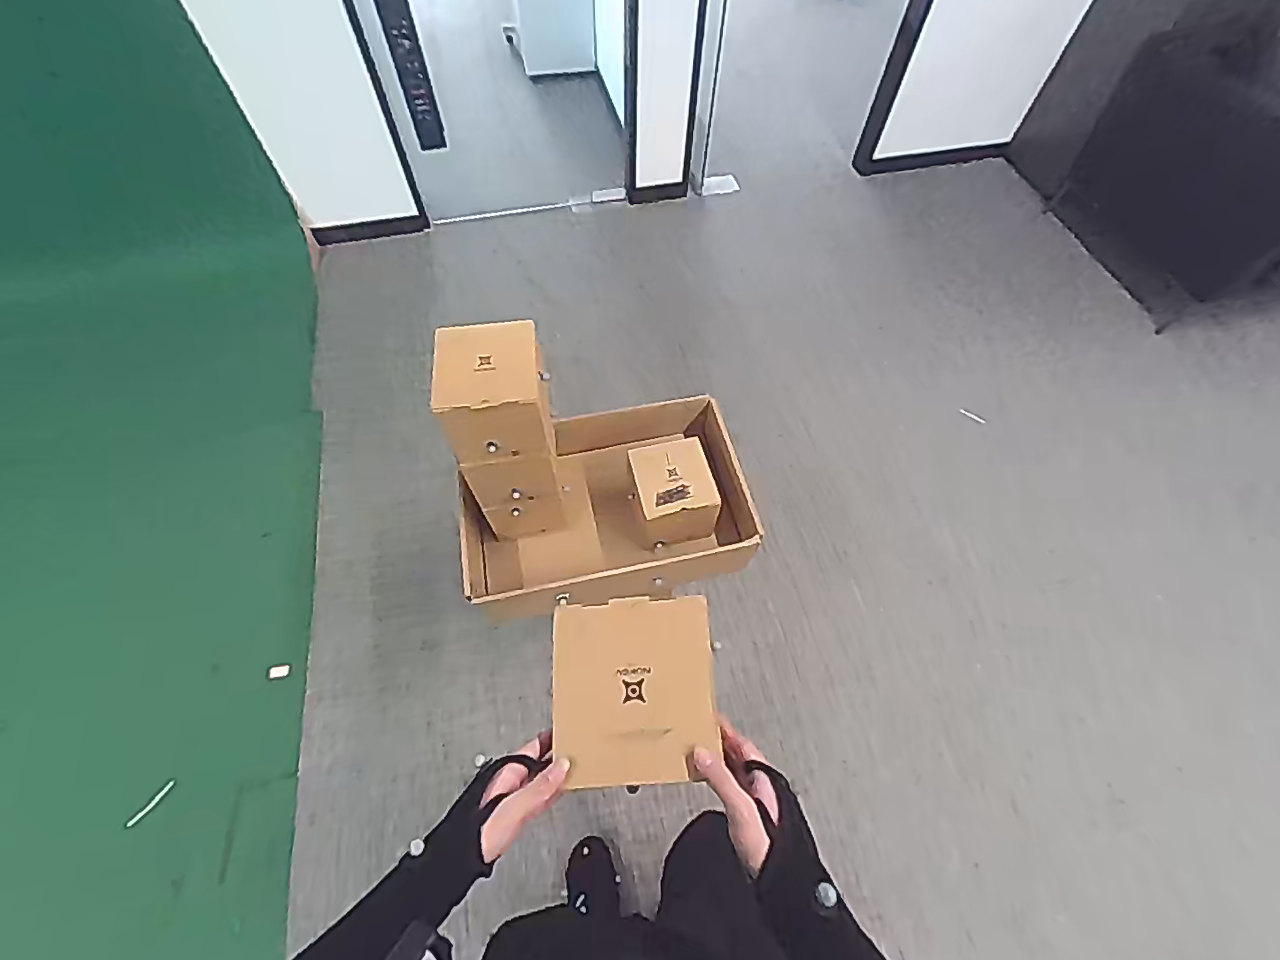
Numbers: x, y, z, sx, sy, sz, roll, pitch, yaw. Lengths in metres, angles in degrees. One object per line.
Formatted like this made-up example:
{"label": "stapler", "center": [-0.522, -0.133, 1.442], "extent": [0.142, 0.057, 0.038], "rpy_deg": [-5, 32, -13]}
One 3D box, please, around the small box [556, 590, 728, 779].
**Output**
{"label": "small box", "center": [0.004, 0.235, 0.616], "extent": [0.168, 0.176, 0.179], "rpy_deg": [-4, 65, 3]}

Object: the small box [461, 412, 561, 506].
{"label": "small box", "center": [-0.253, -0.068, 1.084], "extent": [0.168, 0.176, 0.179], "rpy_deg": [-7, 61, -5]}

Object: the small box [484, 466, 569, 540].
{"label": "small box", "center": [-0.258, 0.015, 1.226], "extent": [0.168, 0.176, 0.179], "rpy_deg": [-9, 61, -7]}

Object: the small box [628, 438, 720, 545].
{"label": "small box", "center": [0.071, 0.033, 1.221], "extent": [0.168, 0.176, 0.179], "rpy_deg": [-11, 60, -8]}

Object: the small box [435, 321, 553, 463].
{"label": "small box", "center": [-0.246, -0.150, 0.945], "extent": [0.168, 0.176, 0.179], "rpy_deg": [-6, 61, -5]}
